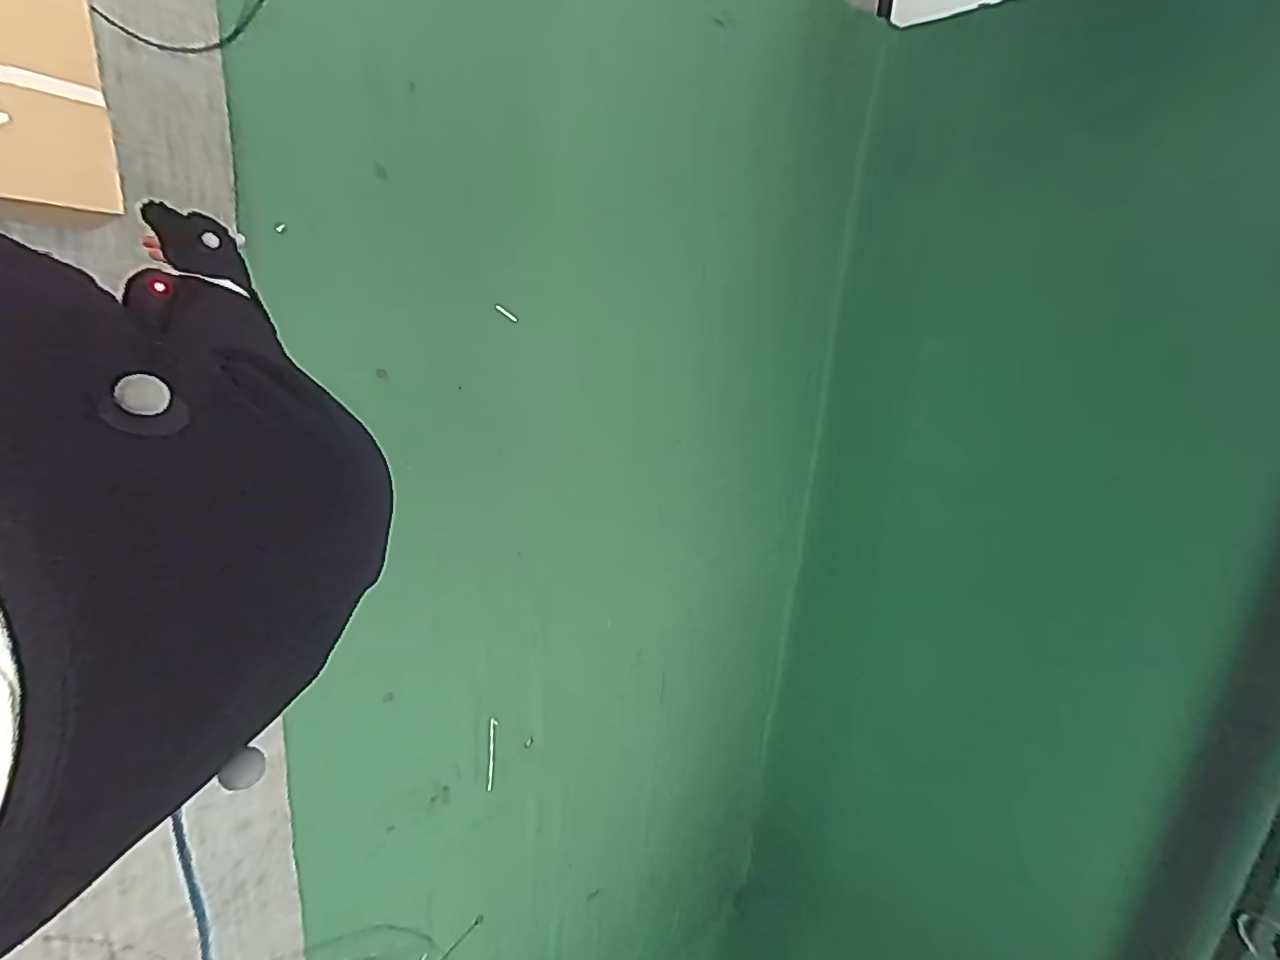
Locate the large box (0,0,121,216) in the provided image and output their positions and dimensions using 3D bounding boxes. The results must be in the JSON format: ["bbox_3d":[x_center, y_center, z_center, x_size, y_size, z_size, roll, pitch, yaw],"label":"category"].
[{"bbox_3d":[-1.039,-0.576,0.740,0.408,0.320,0.320,-15,114,-49],"label":"large box"}]
